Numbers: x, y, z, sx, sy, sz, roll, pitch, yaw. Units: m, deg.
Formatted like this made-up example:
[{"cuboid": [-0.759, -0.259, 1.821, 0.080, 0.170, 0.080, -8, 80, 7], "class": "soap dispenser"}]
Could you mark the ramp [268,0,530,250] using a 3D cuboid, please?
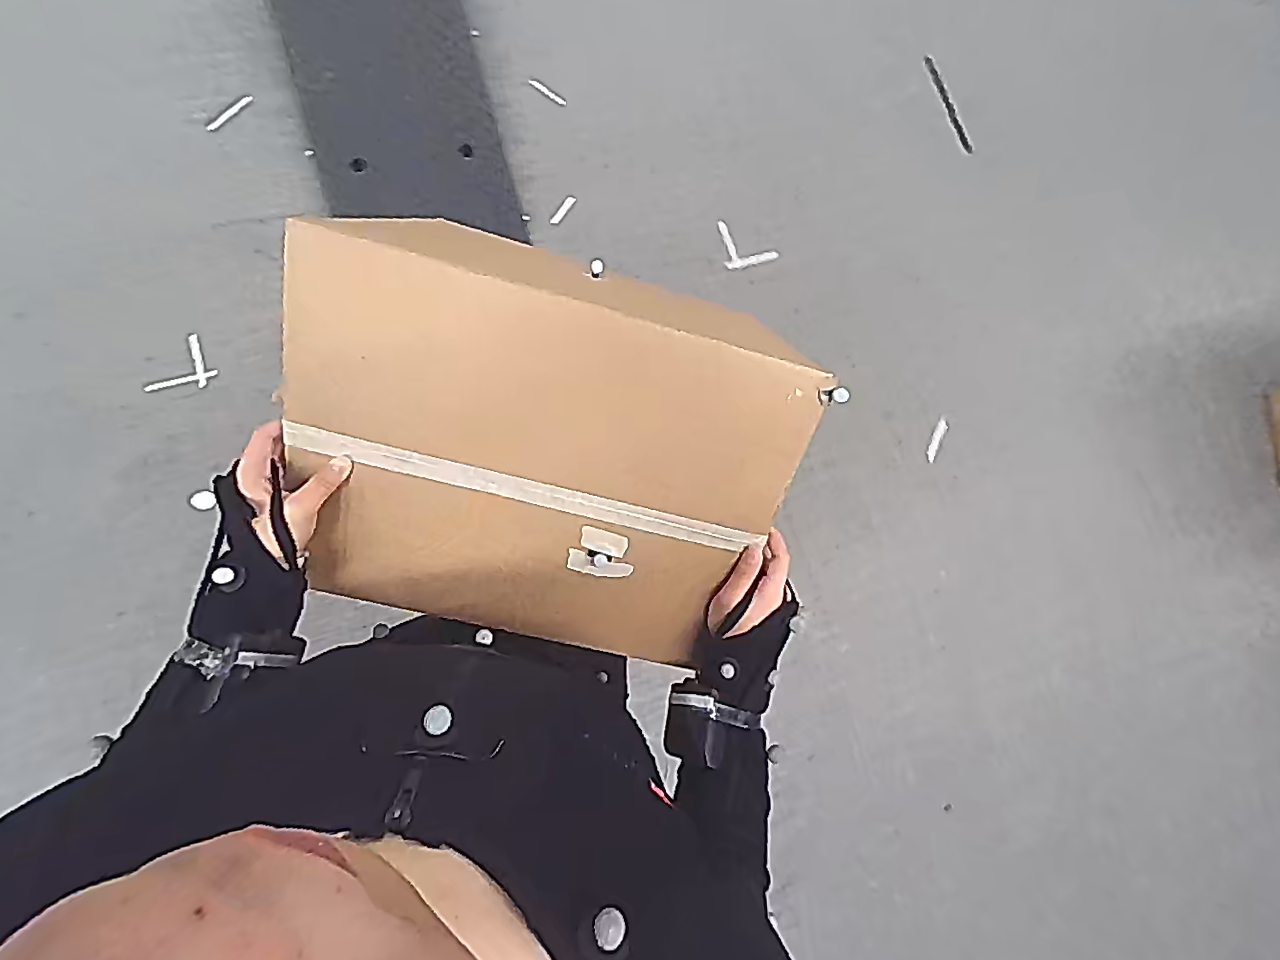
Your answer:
[{"cuboid": [-0.662, -1.073, 1.452, 0.509, 0.206, 0.991, -18, 85, -14], "class": "ramp"}]

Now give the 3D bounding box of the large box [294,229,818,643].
[{"cuboid": [-0.091, -0.068, 0.599, 0.408, 0.320, 0.320, 12, 116, -8], "class": "large box"}]
